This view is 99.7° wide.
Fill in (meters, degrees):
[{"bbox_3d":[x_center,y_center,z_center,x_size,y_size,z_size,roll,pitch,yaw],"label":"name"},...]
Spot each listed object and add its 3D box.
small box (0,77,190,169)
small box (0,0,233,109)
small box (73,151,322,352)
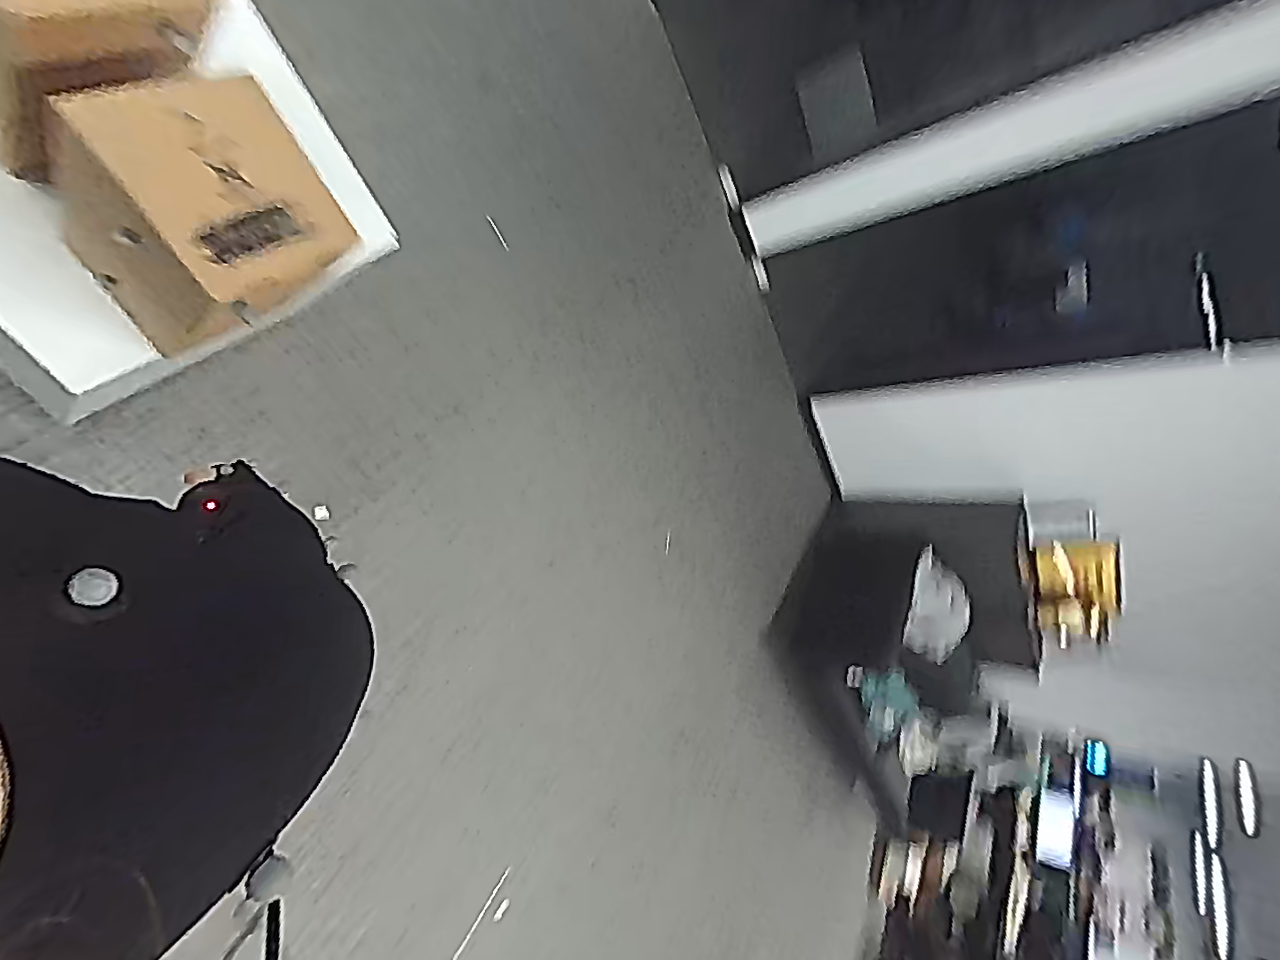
[{"bbox_3d":[-0.651,-0.470,0.585,0.179,0.176,0.168,-49,125,-36],"label":"small box"},{"bbox_3d":[-0.524,-0.467,0.481,0.179,0.176,0.168,-48,125,-37],"label":"small box"},{"bbox_3d":[-0.560,-0.282,0.688,0.179,0.176,0.168,-48,122,-37],"label":"small box"}]
